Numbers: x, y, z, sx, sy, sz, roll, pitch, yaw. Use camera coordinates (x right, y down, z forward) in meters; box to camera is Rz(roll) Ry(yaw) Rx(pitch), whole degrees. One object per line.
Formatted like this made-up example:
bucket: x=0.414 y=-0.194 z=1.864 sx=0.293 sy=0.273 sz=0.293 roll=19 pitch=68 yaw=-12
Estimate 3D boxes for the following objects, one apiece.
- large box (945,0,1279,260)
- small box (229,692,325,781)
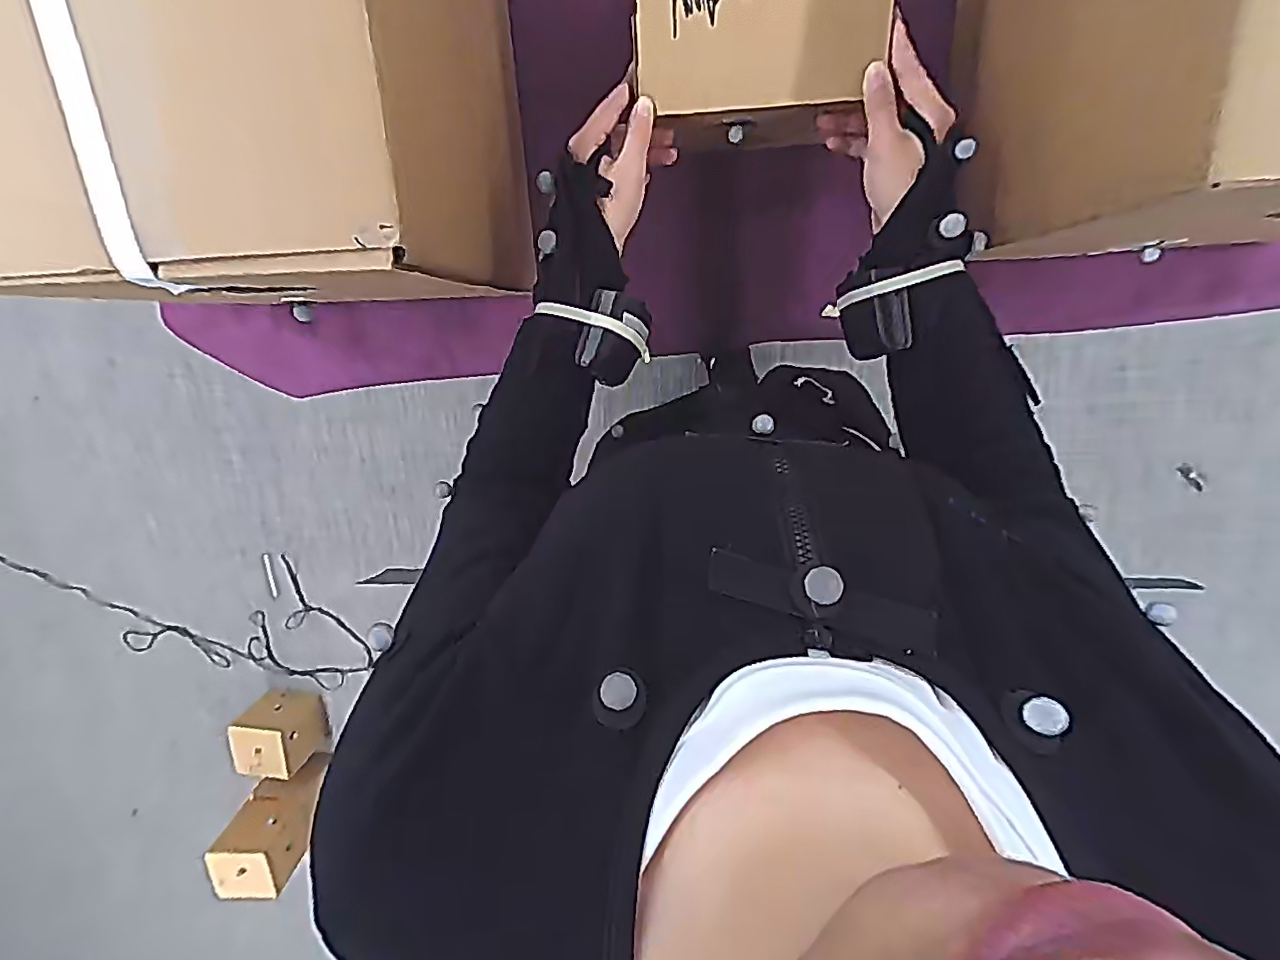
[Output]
large box: x=0.417 y=-0.376 z=0.324 sx=0.320 sy=0.320 sz=0.408 roll=-2 pitch=105 yaw=6
small box: x=-1.093 y=0.771 z=1.640 sx=0.168 sy=0.176 sz=0.179 roll=4 pitch=107 yaw=5
